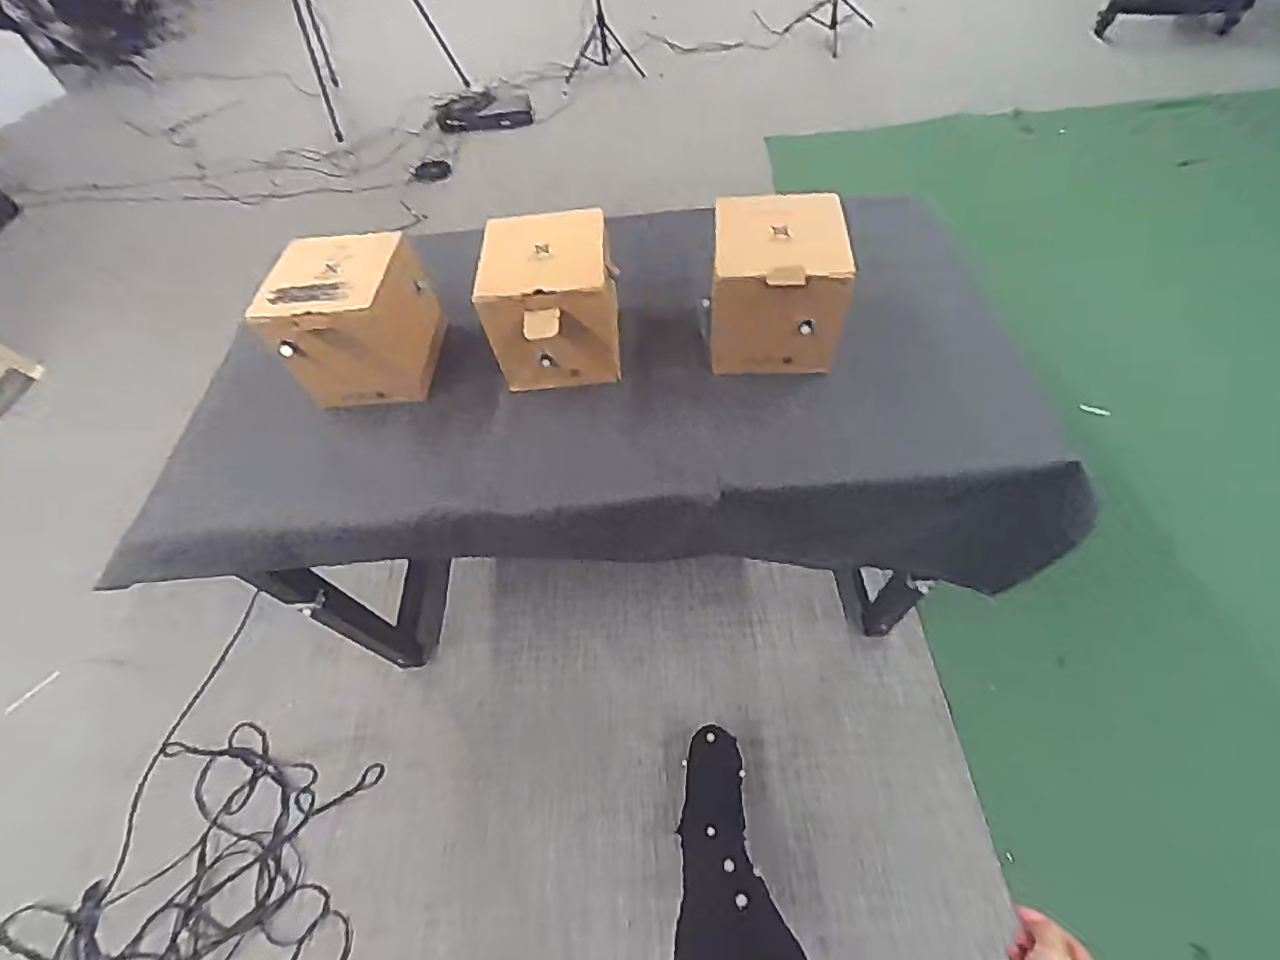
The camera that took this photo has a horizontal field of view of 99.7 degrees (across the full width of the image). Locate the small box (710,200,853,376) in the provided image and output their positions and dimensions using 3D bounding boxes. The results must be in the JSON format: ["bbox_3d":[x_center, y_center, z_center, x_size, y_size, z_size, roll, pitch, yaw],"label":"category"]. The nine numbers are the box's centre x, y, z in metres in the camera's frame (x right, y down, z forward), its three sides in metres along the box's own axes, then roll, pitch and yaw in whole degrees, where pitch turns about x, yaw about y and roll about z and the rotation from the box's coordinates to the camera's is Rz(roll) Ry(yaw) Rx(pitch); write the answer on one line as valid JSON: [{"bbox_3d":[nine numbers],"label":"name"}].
[{"bbox_3d":[0.185,-0.262,0.757,0.168,0.176,0.179,1,55,5],"label":"small box"}]

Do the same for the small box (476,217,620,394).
[{"bbox_3d":[-0.121,-0.248,0.780,0.168,0.176,0.179,-5,57,2],"label":"small box"}]
